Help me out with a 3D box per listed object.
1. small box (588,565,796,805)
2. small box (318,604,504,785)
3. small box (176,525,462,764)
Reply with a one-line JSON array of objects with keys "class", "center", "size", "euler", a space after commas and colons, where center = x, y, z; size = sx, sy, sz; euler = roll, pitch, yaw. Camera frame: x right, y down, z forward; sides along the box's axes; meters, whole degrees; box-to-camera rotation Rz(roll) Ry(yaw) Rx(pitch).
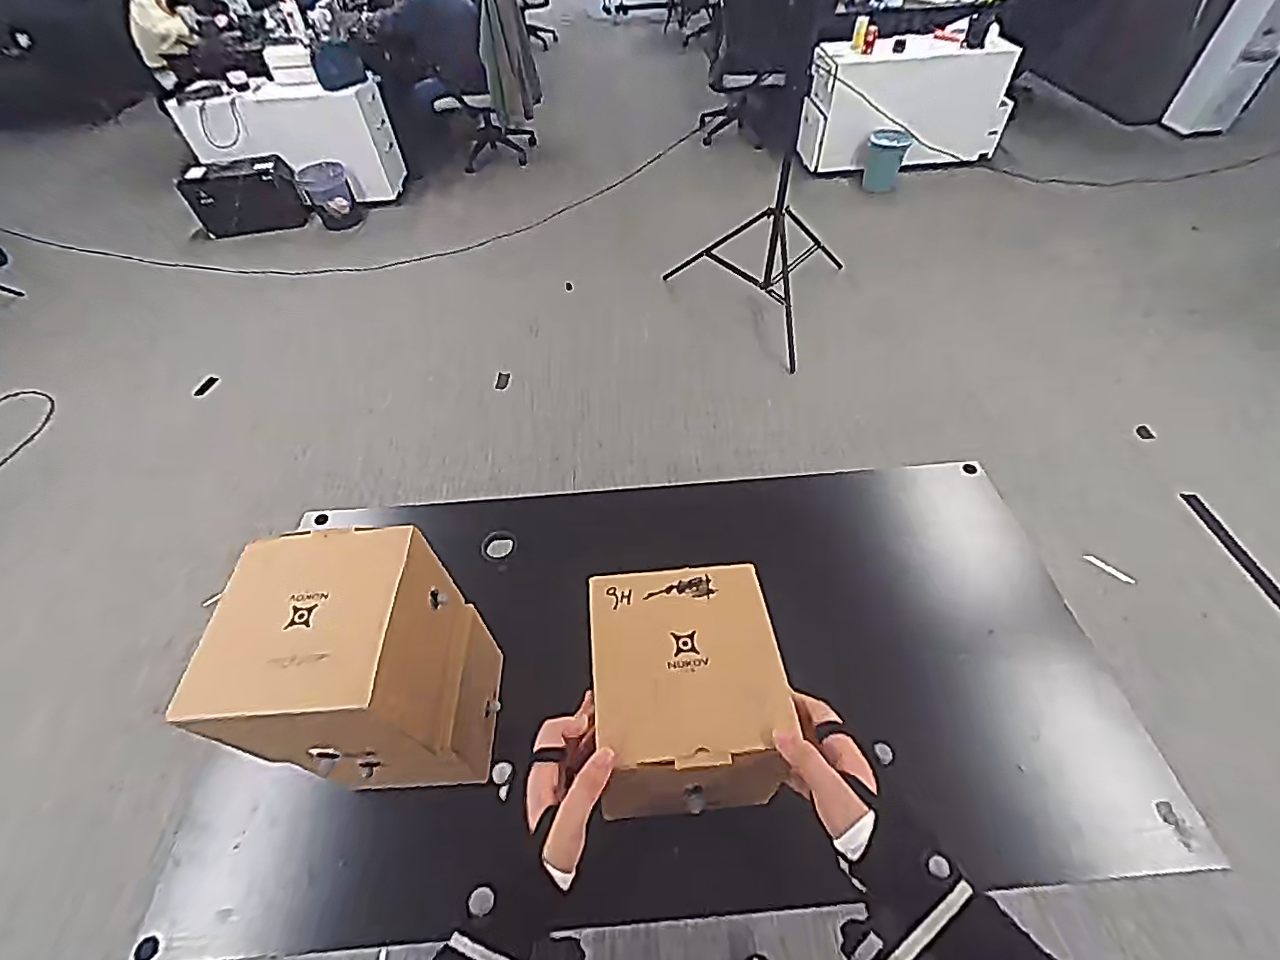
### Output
[{"class": "small box", "center": [0.038, 0.208, 0.537], "size": [0.168, 0.176, 0.179], "euler": [-4, 48, -4]}, {"class": "small box", "center": [-0.282, 0.270, 0.671], "size": [0.179, 0.176, 0.168], "euler": [-3, 51, -1]}, {"class": "small box", "center": [-0.291, 0.168, 0.545], "size": [0.168, 0.176, 0.179], "euler": [-5, 51, 0]}]
